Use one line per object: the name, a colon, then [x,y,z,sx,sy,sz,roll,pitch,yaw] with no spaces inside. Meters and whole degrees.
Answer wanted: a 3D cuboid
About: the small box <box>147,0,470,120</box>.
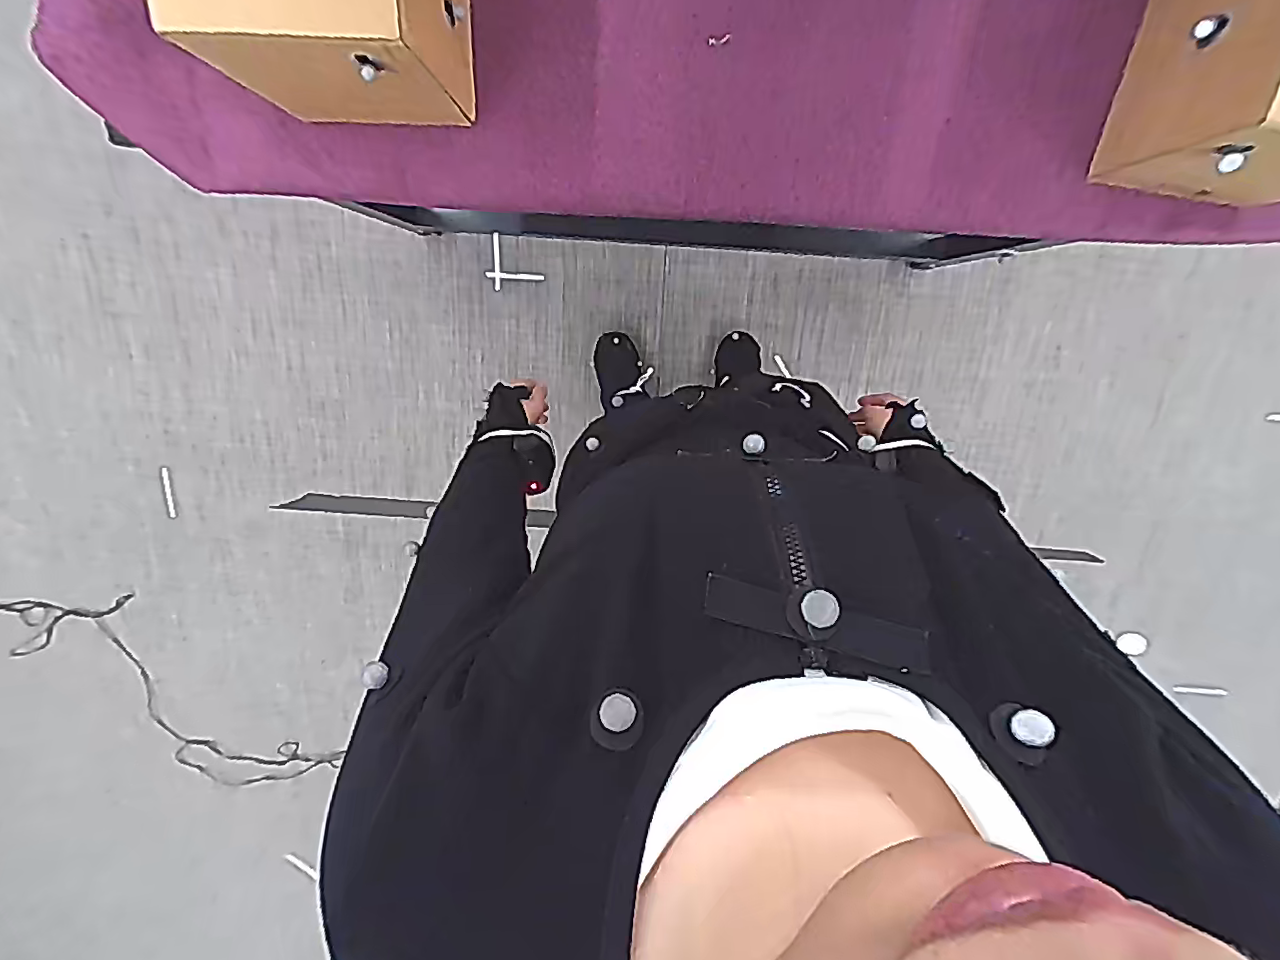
small box: [-0.251,-0.411,0.433,0.179,0.176,0.168,1,106,-1]
